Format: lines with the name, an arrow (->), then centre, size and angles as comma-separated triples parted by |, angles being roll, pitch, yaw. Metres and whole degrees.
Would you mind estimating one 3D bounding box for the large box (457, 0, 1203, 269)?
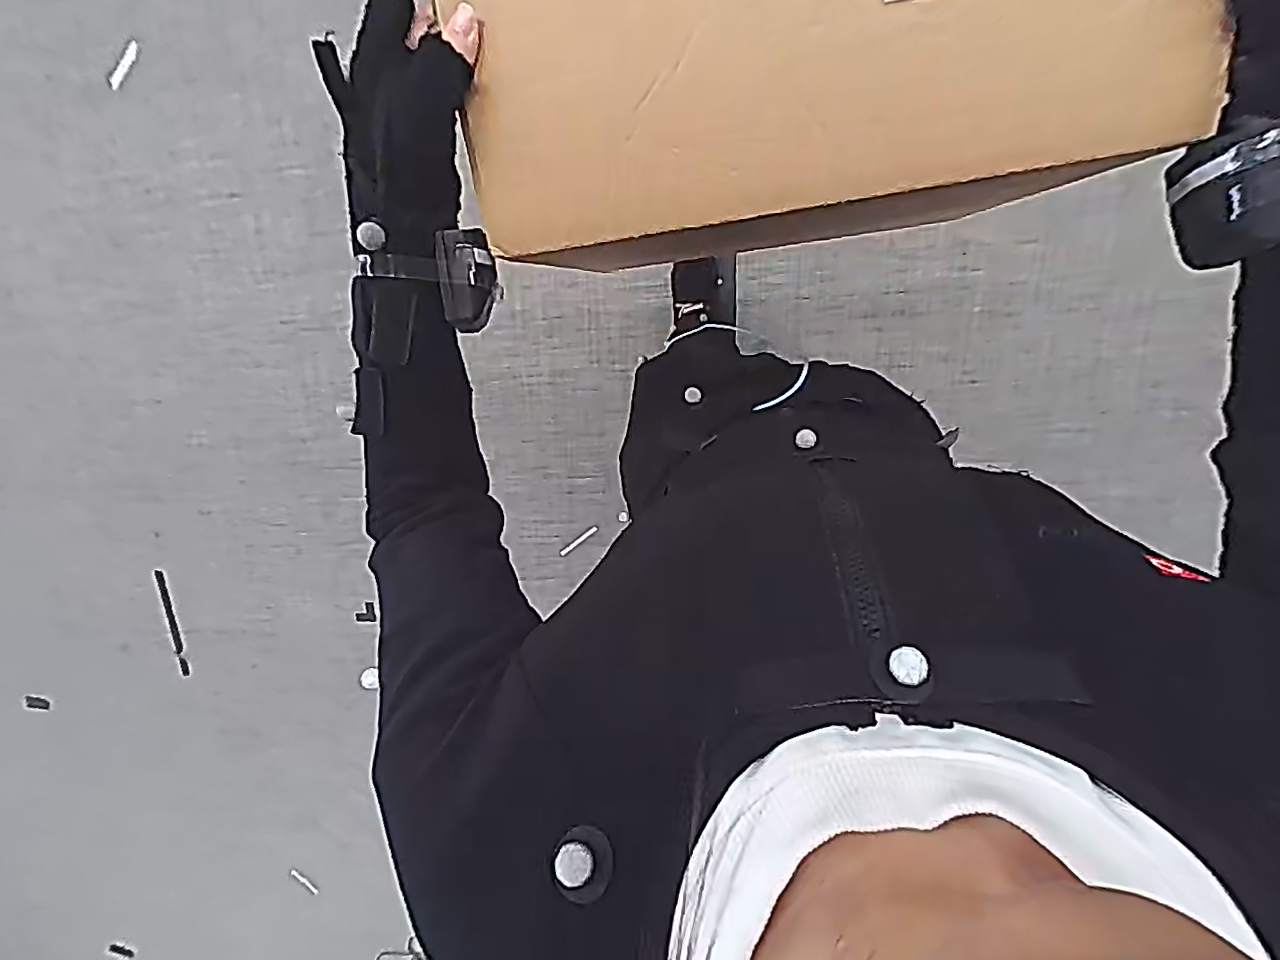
large box -> 0.100, -0.367, 0.424 | 0.408, 0.320, 0.320 | -6, 109, 10
